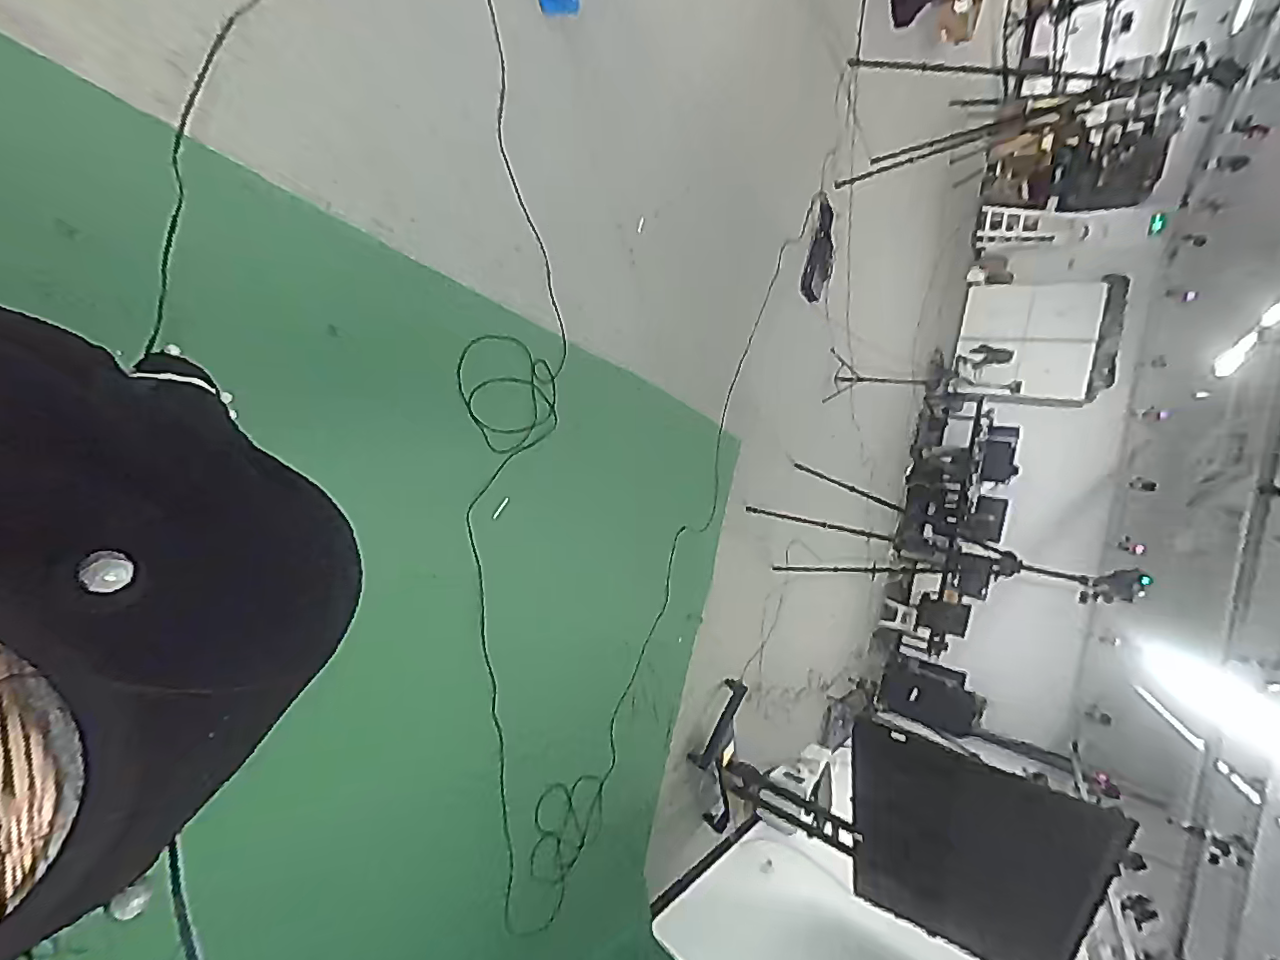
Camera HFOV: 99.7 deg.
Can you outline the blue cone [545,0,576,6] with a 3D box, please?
[{"bbox_3d":[-0.149,-1.650,1.667,0.193,0.380,0.192,-49,134,-37],"label":"blue cone"}]
